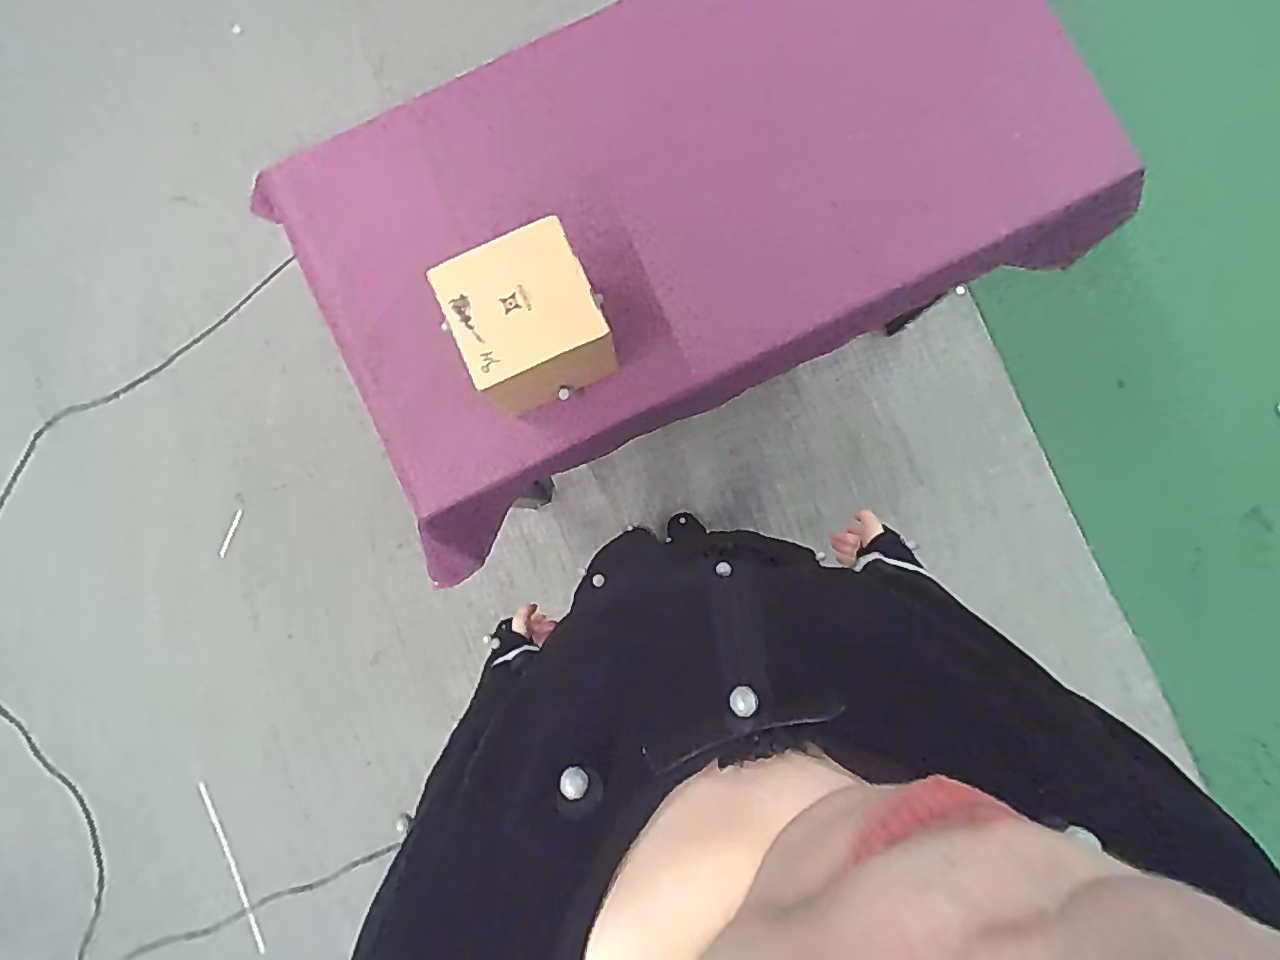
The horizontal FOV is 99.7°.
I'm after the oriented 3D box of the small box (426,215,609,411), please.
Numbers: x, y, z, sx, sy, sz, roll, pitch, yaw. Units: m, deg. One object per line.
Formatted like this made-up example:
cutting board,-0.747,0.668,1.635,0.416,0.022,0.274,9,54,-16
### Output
small box,-0.149,-0.211,0.730,0.179,0.176,0.168,-24,85,-1
